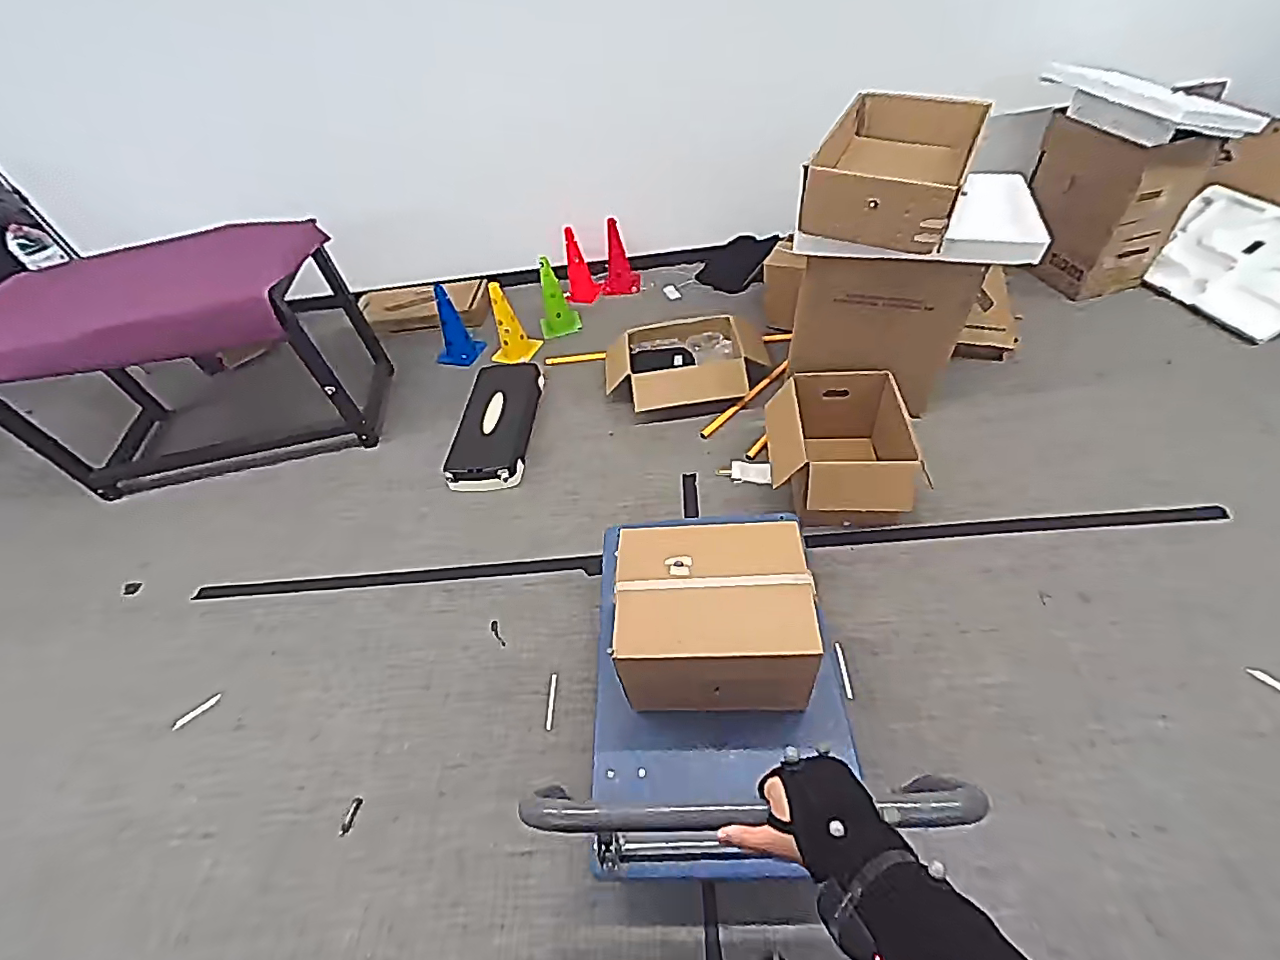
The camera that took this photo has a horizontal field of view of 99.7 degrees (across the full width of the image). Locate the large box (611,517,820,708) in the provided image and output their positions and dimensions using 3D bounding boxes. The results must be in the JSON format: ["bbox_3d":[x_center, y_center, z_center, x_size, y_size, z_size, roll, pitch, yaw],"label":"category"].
[{"bbox_3d":[0.164,0.311,1.235,0.408,0.320,0.320,-4,48,7],"label":"large box"}]
